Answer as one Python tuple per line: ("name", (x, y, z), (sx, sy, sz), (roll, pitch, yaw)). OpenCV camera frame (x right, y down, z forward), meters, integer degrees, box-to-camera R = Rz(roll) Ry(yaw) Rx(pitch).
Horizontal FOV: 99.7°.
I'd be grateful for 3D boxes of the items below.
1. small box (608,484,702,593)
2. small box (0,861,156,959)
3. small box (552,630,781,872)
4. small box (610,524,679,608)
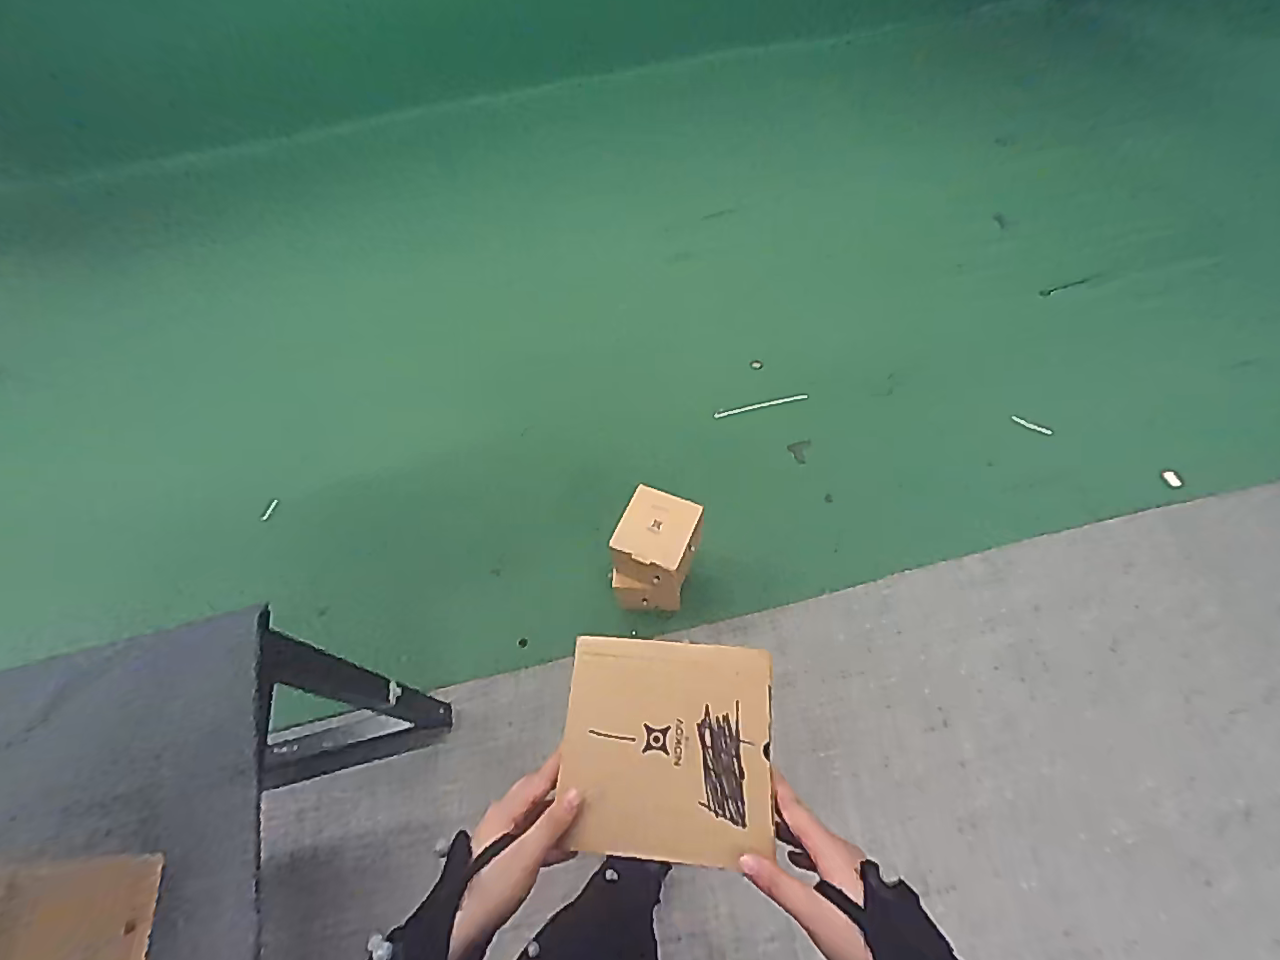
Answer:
("small box", (0.041, 0.145, 1.286), (0.168, 0.176, 0.179), (20, 62, 14))
("small box", (-0.597, 0.464, 0.483), (0.179, 0.176, 0.168), (-14, 59, -2))
("small box", (0.030, 0.251, 0.515), (0.179, 0.176, 0.168), (3, 61, 6))
("small box", (0.020, 0.231, 1.427), (0.168, 0.176, 0.179), (1, 59, 5))
